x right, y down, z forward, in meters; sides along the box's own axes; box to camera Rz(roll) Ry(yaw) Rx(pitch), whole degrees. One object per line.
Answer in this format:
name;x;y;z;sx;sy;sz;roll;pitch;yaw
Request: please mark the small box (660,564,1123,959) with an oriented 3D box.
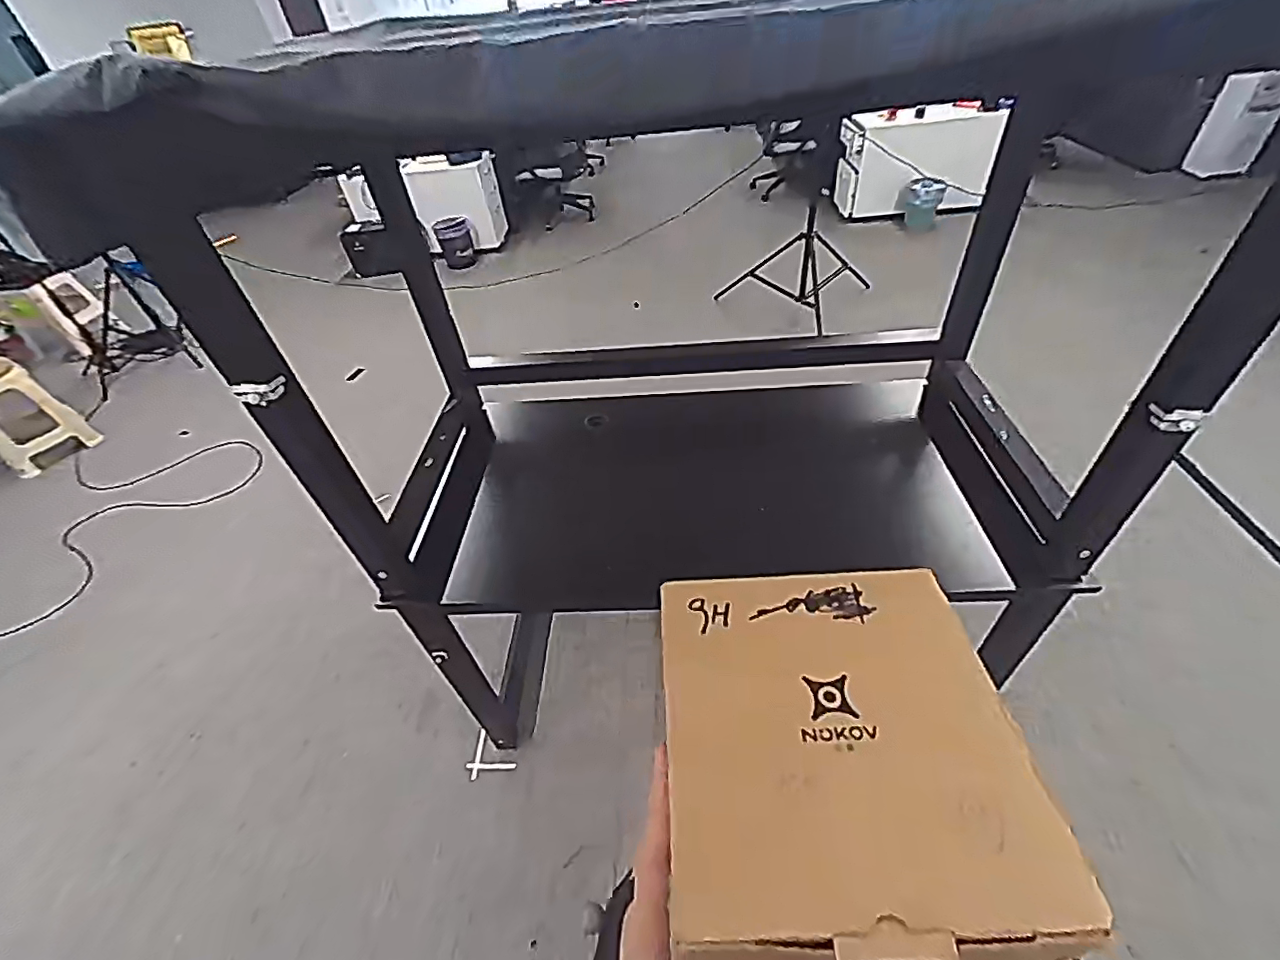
small box;0.098;0.170;0.311;0.168;0.176;0.179;-2;43;2
